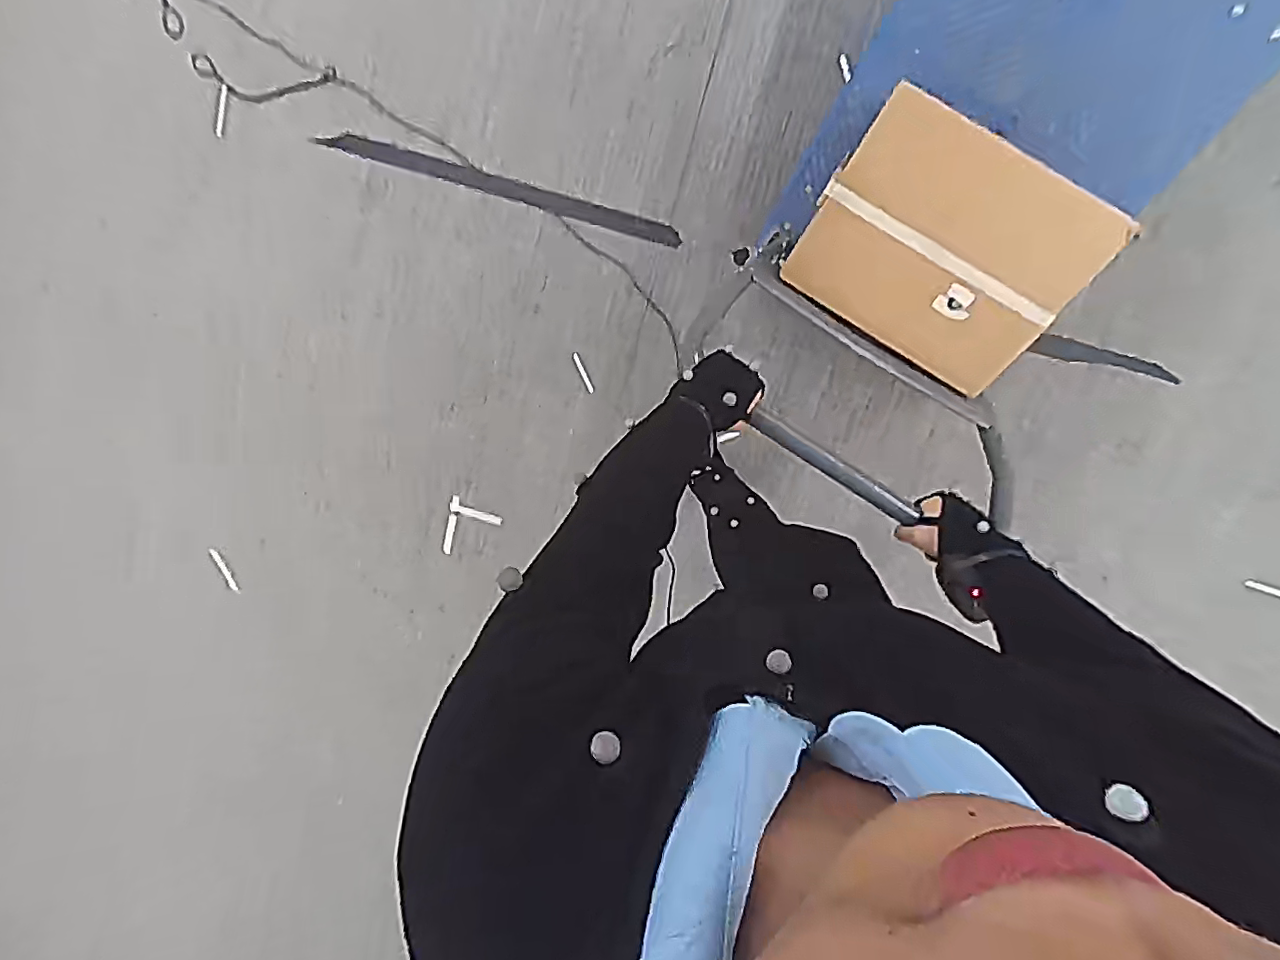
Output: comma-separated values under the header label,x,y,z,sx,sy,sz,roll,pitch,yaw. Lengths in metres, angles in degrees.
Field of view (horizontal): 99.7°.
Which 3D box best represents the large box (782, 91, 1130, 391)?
label,x,y,z,sx,sy,sz,roll,pitch,yaw
large box,0.529,-0.434,0.998,0.408,0.320,0.320,33,125,2
